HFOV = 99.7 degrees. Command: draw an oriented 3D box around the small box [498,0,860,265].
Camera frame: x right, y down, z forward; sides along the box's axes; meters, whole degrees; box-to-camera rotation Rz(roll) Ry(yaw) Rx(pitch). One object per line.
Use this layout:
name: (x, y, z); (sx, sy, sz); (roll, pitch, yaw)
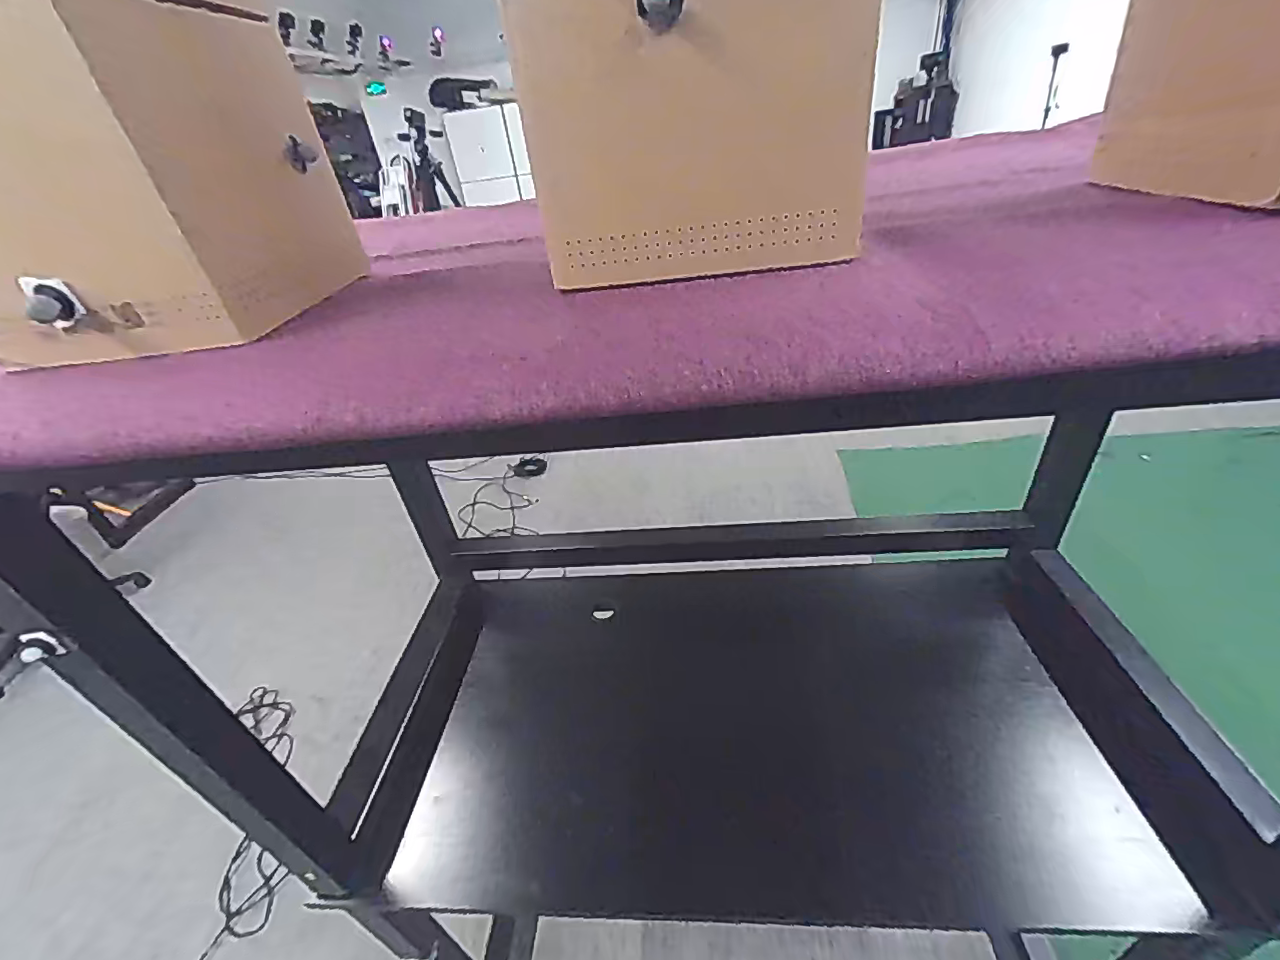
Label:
small box: (0.026, -0.236, 0.326); (0.179, 0.176, 0.168); (-3, 33, 8)

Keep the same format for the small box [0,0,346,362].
small box: (-0.321, -0.190, 0.341); (0.168, 0.176, 0.179); (-7, 35, 5)

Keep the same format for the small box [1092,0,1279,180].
small box: (0.381, -0.259, 0.272); (0.168, 0.176, 0.179); (-4, 33, 11)
